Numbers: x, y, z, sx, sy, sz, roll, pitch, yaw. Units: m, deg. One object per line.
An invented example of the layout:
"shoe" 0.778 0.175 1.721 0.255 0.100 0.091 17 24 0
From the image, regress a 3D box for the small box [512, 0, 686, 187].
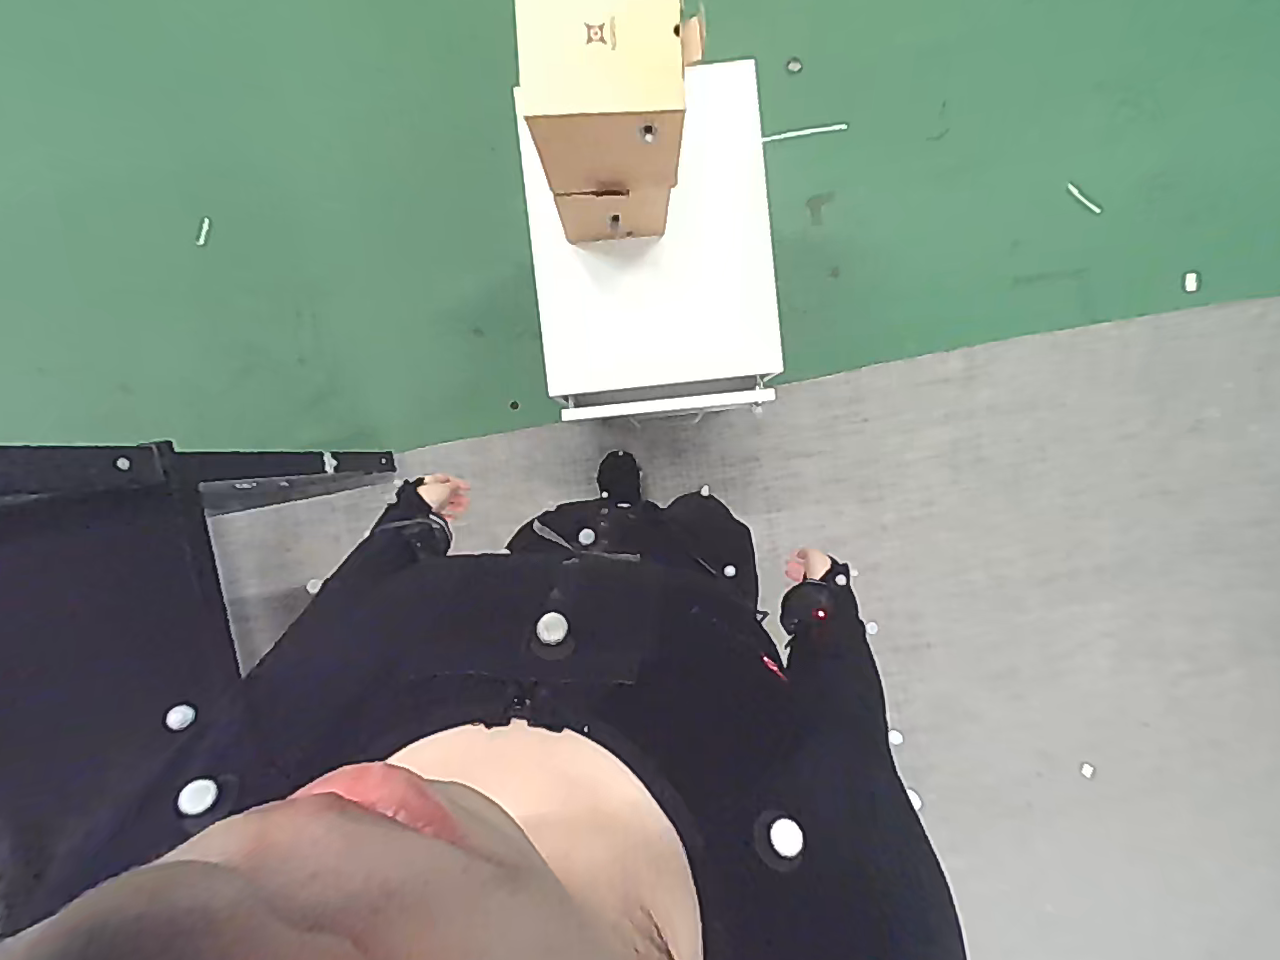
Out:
"small box" -0.042 -0.465 0.632 0.179 0.176 0.168 -3 93 -1

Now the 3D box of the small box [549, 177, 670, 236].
"small box" -0.046 -0.476 0.794 0.168 0.176 0.179 -6 94 0
